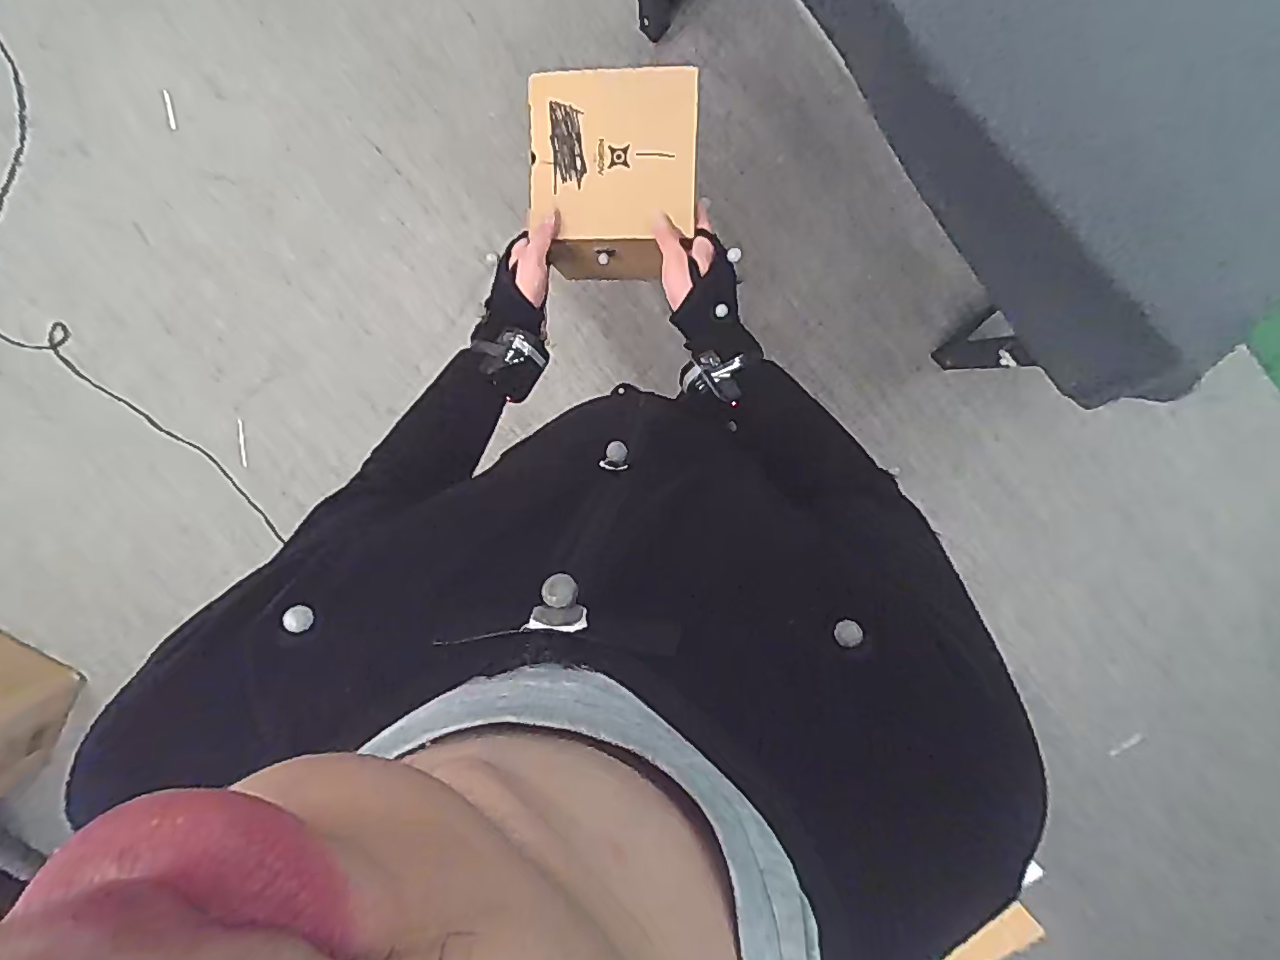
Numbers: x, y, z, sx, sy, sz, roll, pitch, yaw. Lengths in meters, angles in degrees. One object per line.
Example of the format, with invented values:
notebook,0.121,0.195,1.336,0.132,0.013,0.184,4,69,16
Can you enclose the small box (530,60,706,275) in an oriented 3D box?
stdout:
small box,-0.018,-0.340,0.621,0.179,0.176,0.168,2,97,4
